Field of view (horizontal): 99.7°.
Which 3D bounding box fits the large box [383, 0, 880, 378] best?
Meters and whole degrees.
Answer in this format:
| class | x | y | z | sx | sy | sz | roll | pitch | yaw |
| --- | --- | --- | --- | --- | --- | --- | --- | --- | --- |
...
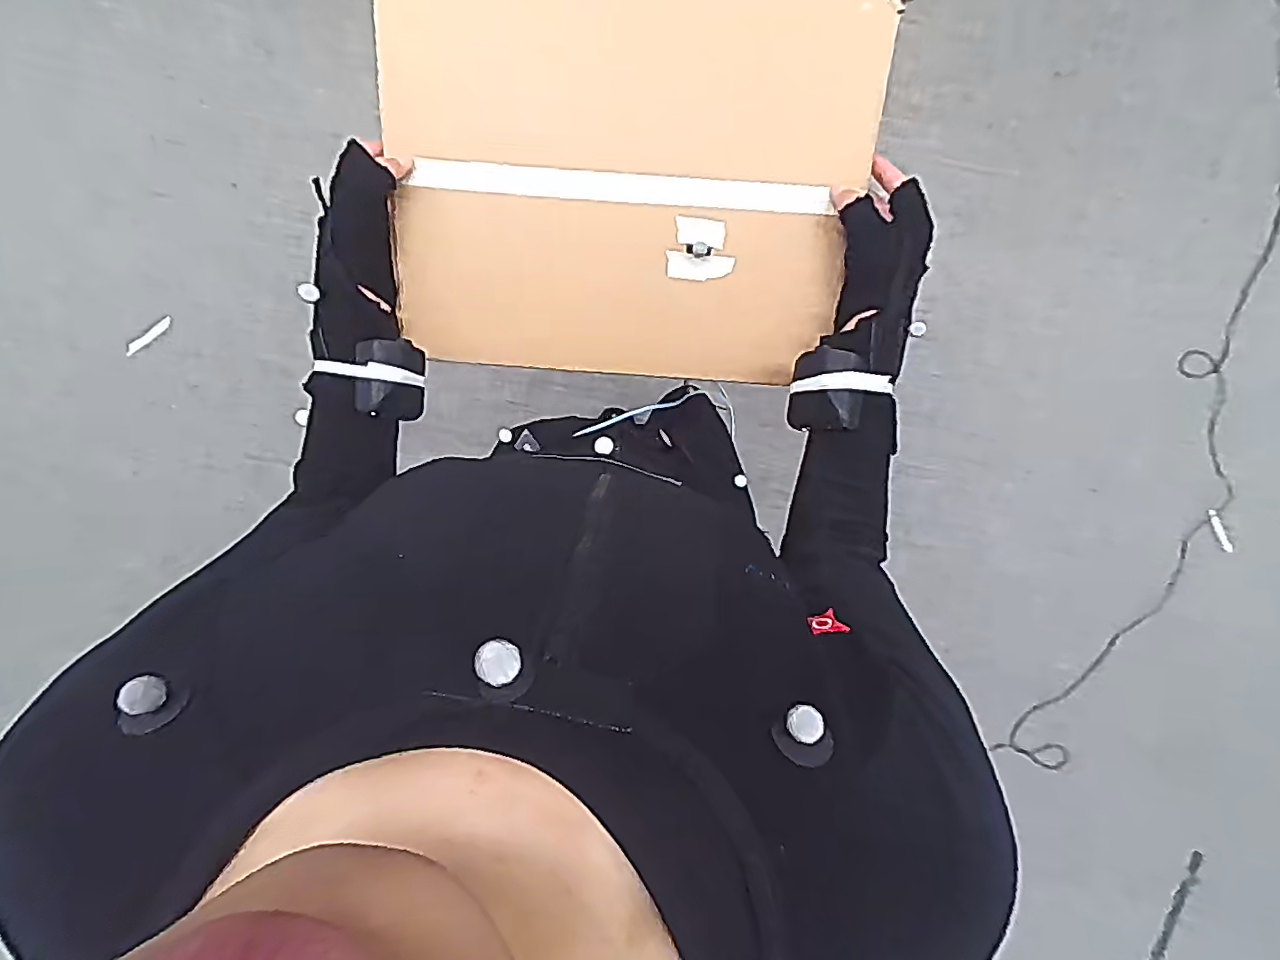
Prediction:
| class | x | y | z | sx | sy | sz | roll | pitch | yaw |
| --- | --- | --- | --- | --- | --- | --- | --- | --- | --- |
| large box | -0.015 | -0.297 | 0.613 | 0.408 | 0.320 | 0.320 | 3 | 110 | -2 |
